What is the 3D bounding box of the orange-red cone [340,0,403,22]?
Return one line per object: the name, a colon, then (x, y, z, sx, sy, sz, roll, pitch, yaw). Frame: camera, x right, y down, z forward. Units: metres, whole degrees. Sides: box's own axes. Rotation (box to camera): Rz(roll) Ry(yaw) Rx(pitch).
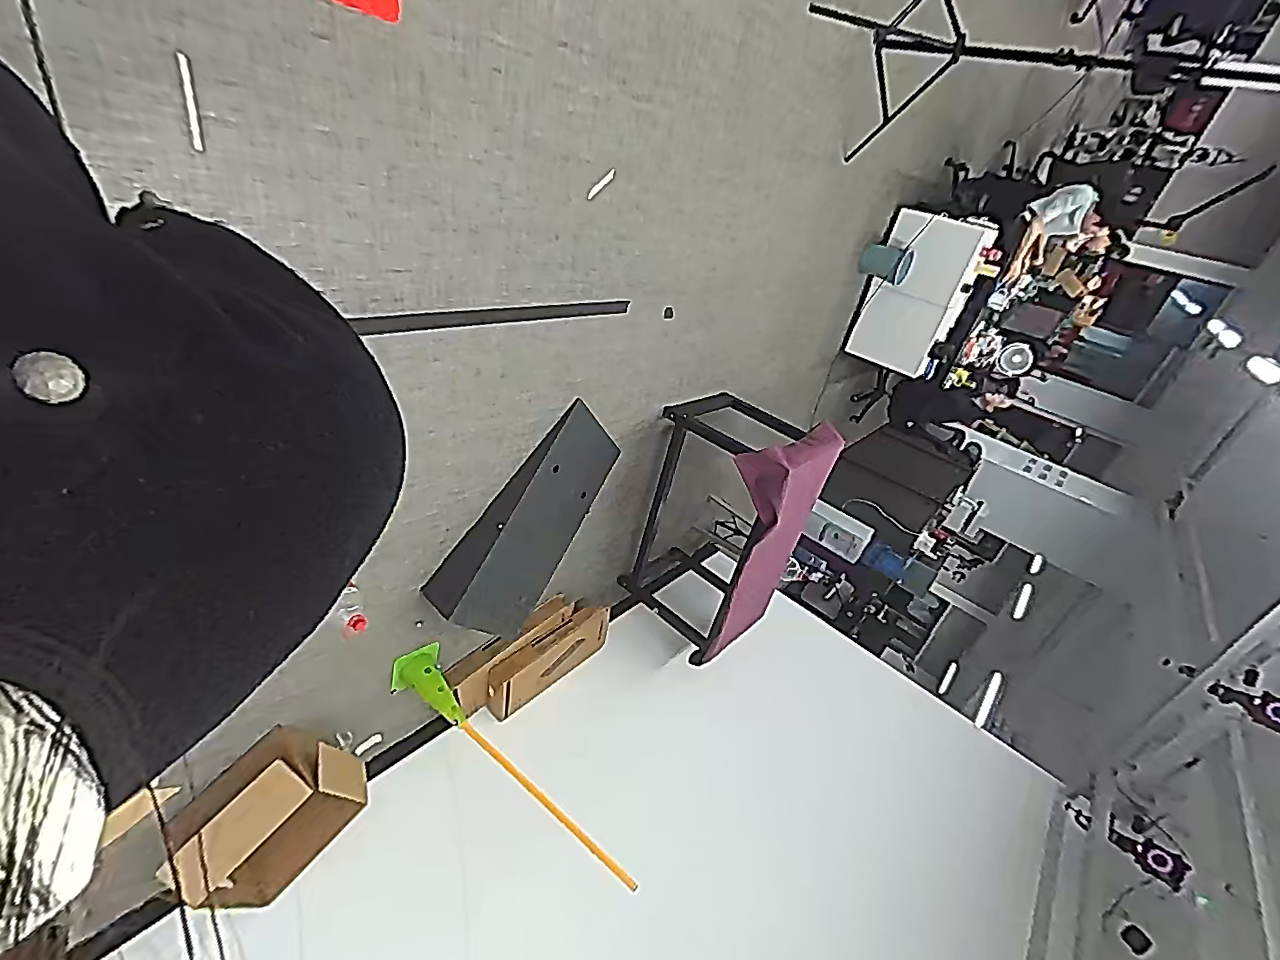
orange-red cone: (-0.429, -0.955, 0.959, 0.198, 0.360, 0.199, -18, 133, -47)
